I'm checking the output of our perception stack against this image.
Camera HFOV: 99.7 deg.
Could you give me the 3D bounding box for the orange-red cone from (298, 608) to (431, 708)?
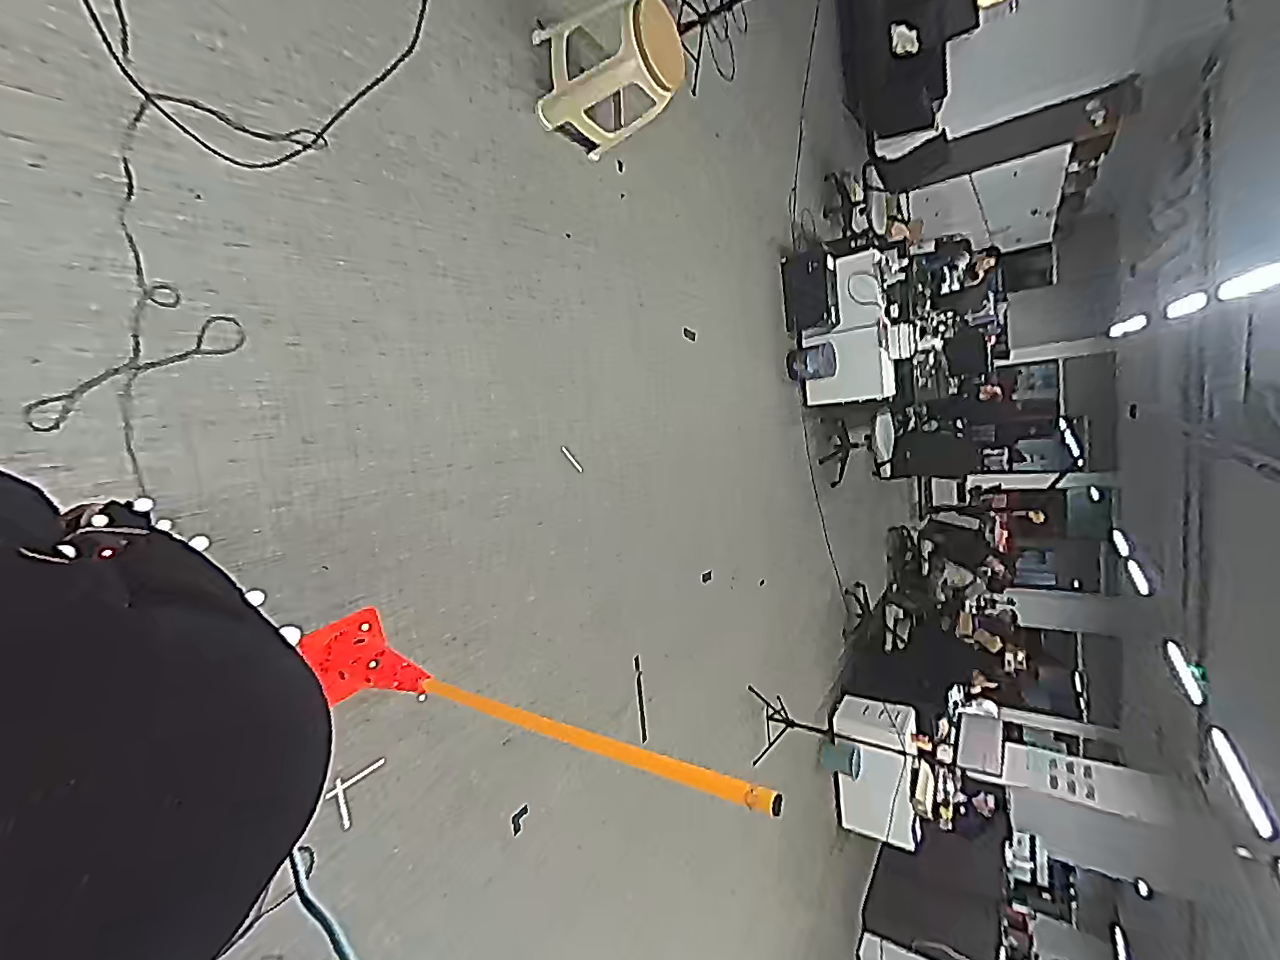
[{"bbox_3d":[-0.610,0.445,1.272,0.199,0.360,0.198,-23,107,-51],"label":"orange-red cone"}]
